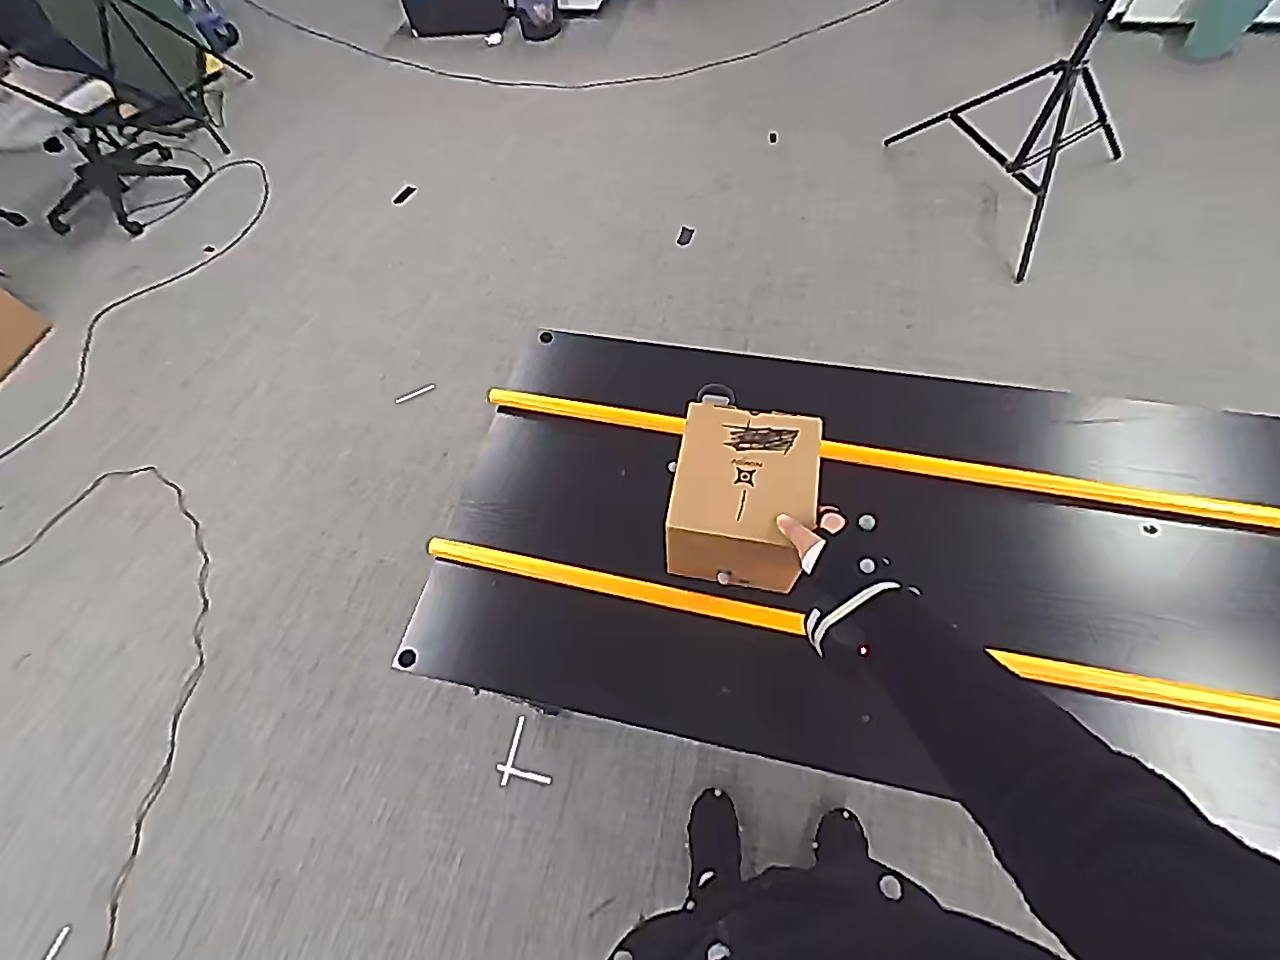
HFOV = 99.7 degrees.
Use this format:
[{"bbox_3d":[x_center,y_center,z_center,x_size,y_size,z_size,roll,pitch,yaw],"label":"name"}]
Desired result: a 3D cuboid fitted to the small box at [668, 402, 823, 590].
[{"bbox_3d":[0.132,0.025,0.706,0.168,0.176,0.179,9,64,9],"label":"small box"}]
